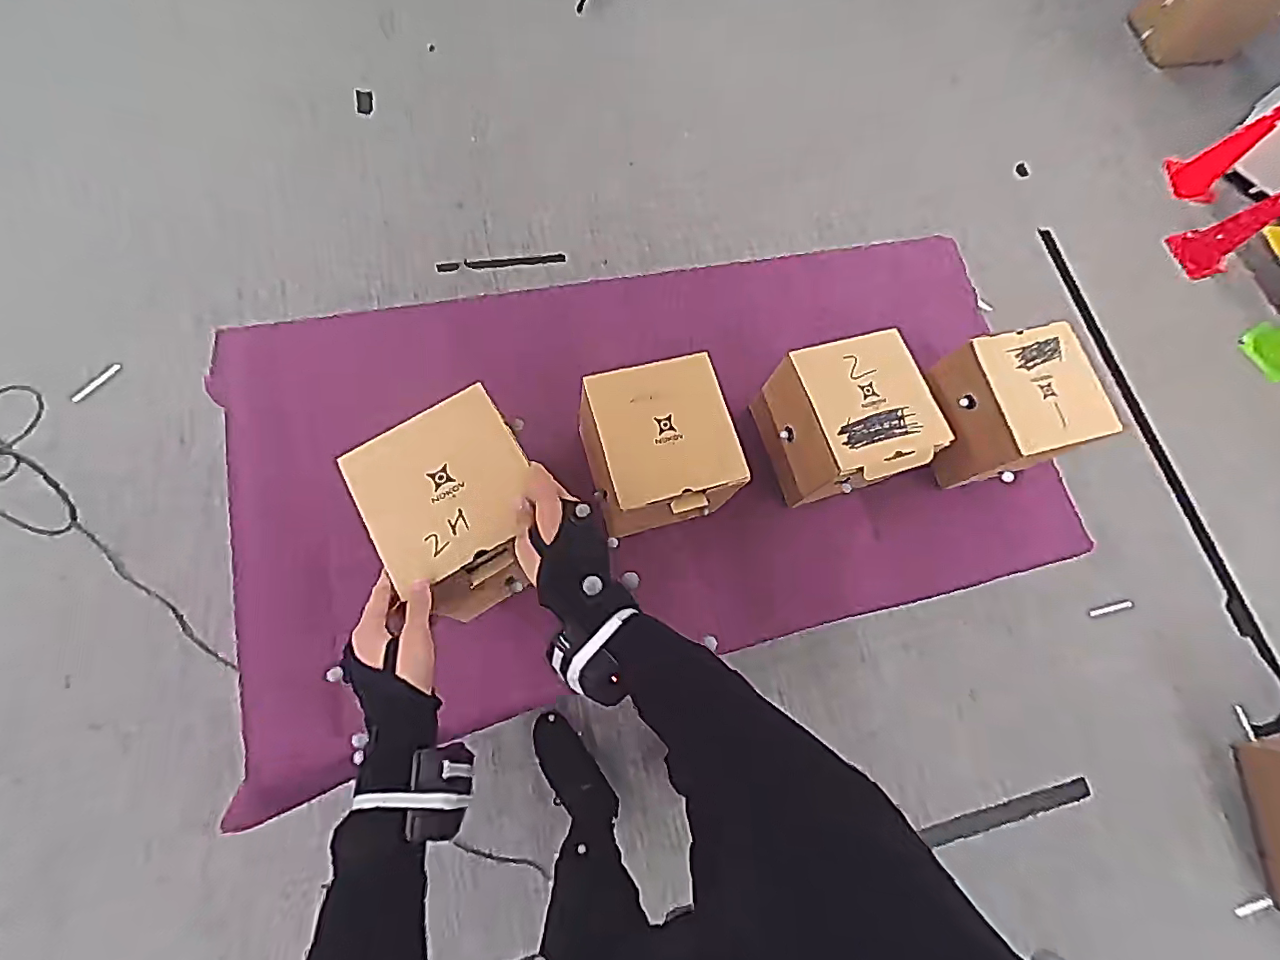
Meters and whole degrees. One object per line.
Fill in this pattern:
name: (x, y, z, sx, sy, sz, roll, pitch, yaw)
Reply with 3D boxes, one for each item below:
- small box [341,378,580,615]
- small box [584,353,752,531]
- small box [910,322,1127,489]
small box: (-0.184, 0.028, 0.597, 0.168, 0.176, 0.179, -30, 72, -9)
small box: (0.025, -0.039, 0.718, 0.168, 0.176, 0.179, -13, 75, -12)
small box: (0.540, -0.103, 0.800, 0.168, 0.176, 0.179, -13, 76, -10)
